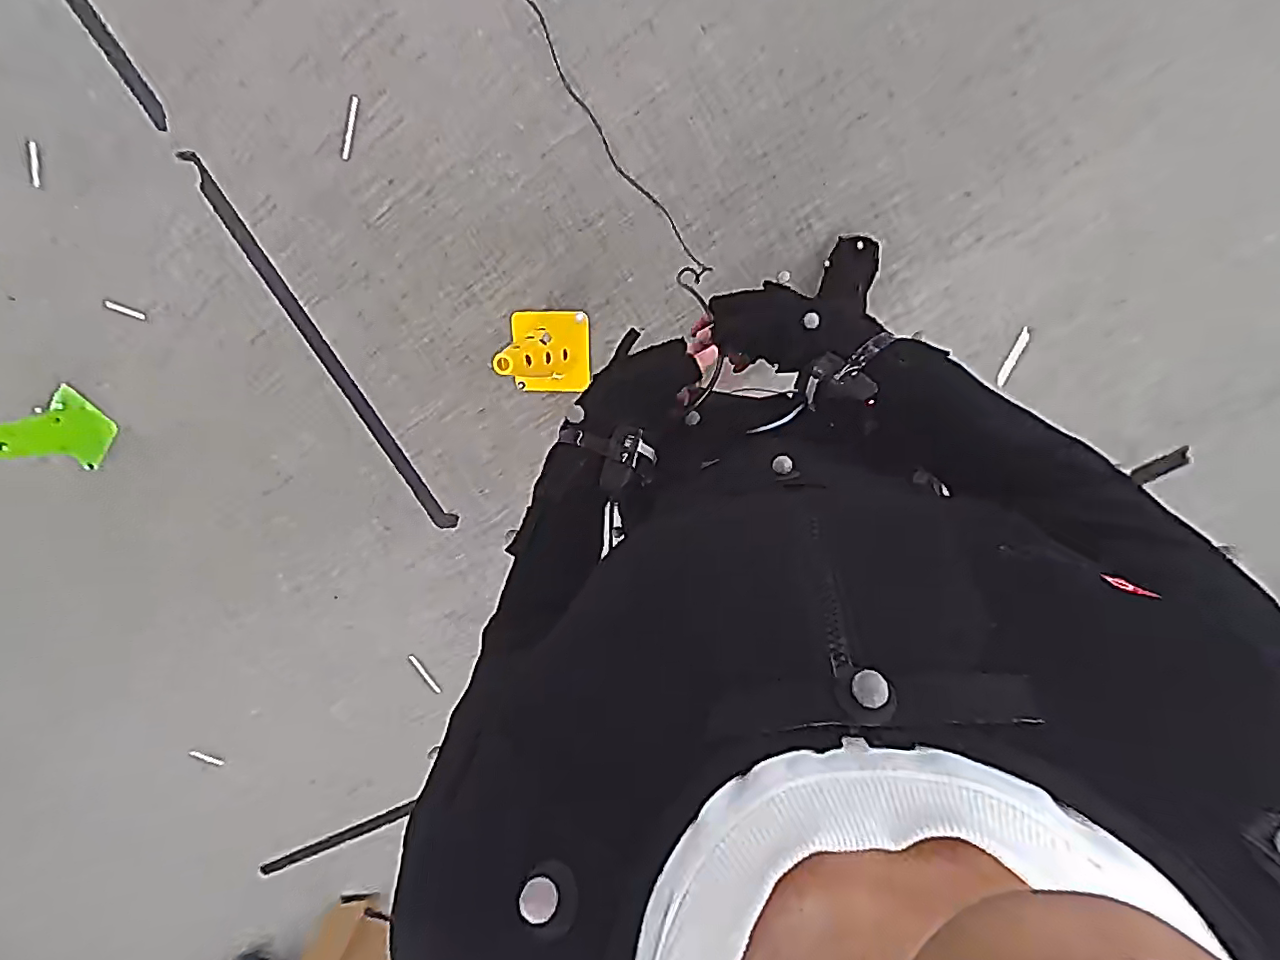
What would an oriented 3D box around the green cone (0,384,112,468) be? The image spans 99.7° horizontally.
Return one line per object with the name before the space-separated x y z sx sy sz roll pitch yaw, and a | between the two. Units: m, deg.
green cone | -1.727 -0.114 1.471 0.202 0.368 0.200 43 107 -5
